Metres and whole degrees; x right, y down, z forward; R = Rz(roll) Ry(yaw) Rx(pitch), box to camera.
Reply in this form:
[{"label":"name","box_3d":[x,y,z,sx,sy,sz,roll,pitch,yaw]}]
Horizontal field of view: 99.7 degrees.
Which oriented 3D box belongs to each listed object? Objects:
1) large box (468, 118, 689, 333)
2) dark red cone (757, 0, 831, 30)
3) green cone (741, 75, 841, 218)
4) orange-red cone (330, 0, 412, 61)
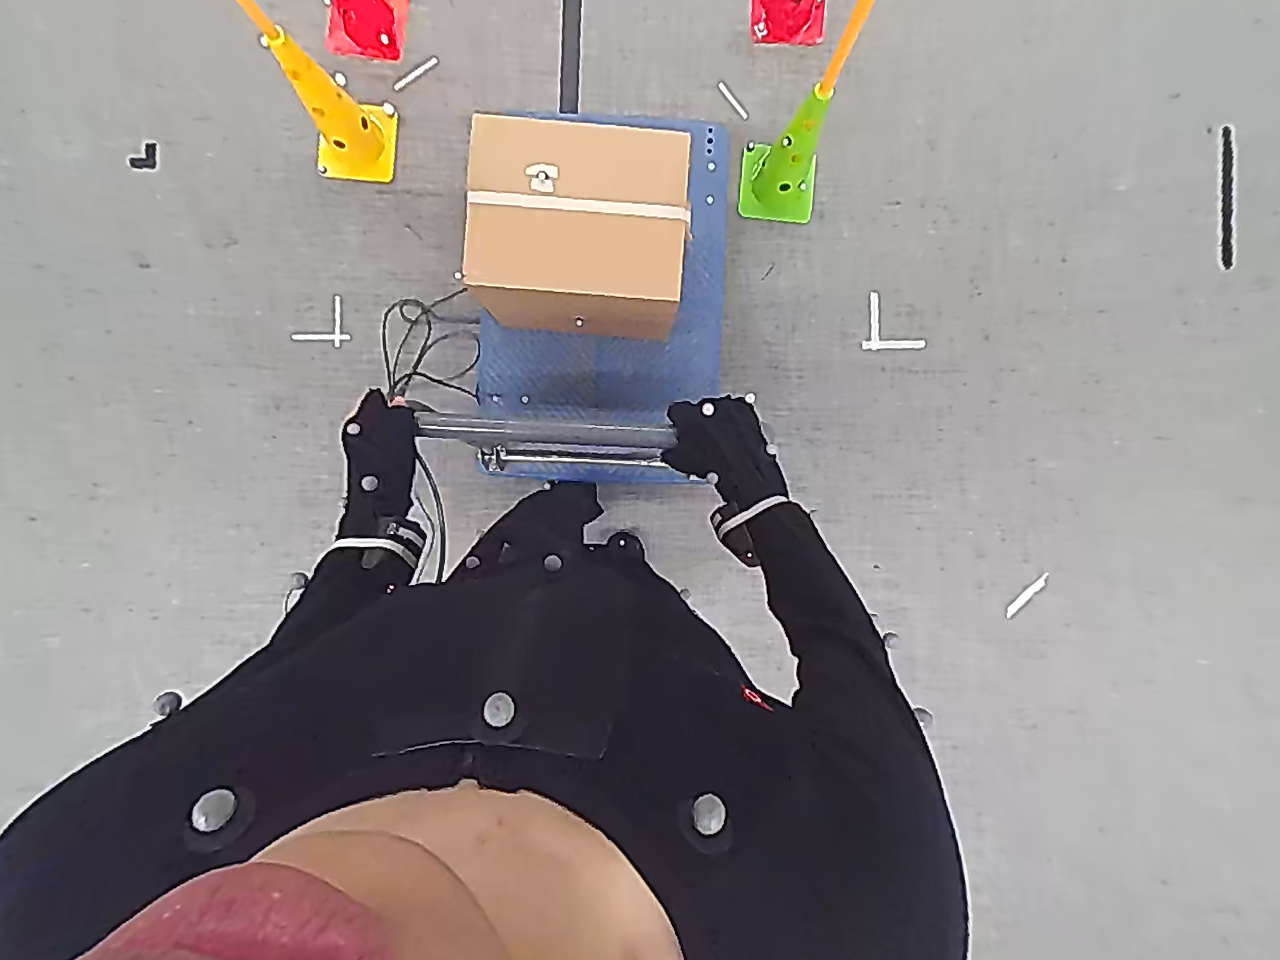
[{"label":"large box","box_3d":[-0.112,-0.508,1.148,0.408,0.320,0.320,4,91,0]},{"label":"dark red cone","box_3d":[0.417,-1.301,1.276,0.201,0.394,0.202,1,91,-3]},{"label":"green cone","box_3d":[0.385,-0.817,1.297,0.202,0.368,0.200,5,90,-2]},{"label":"orange-red cone","box_3d":[-0.716,-1.237,1.279,0.198,0.360,0.199,9,89,-2]}]
